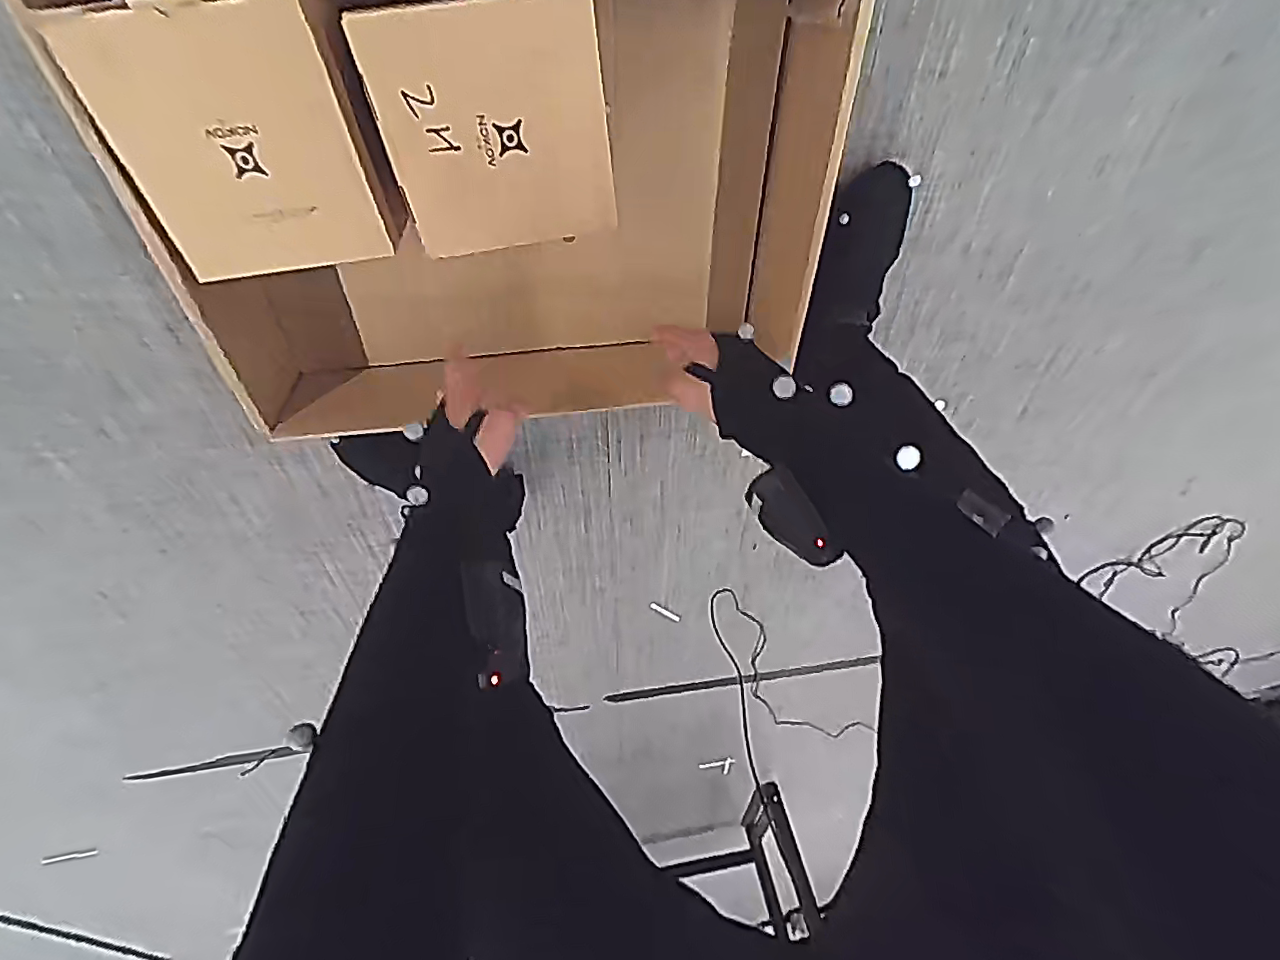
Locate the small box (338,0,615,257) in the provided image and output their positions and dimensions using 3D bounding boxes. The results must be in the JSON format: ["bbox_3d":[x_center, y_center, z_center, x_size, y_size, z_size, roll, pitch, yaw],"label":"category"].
[{"bbox_3d":[-0.129,-0.321,0.477,0.179,0.176,0.168,-12,133,-5],"label":"small box"}]
